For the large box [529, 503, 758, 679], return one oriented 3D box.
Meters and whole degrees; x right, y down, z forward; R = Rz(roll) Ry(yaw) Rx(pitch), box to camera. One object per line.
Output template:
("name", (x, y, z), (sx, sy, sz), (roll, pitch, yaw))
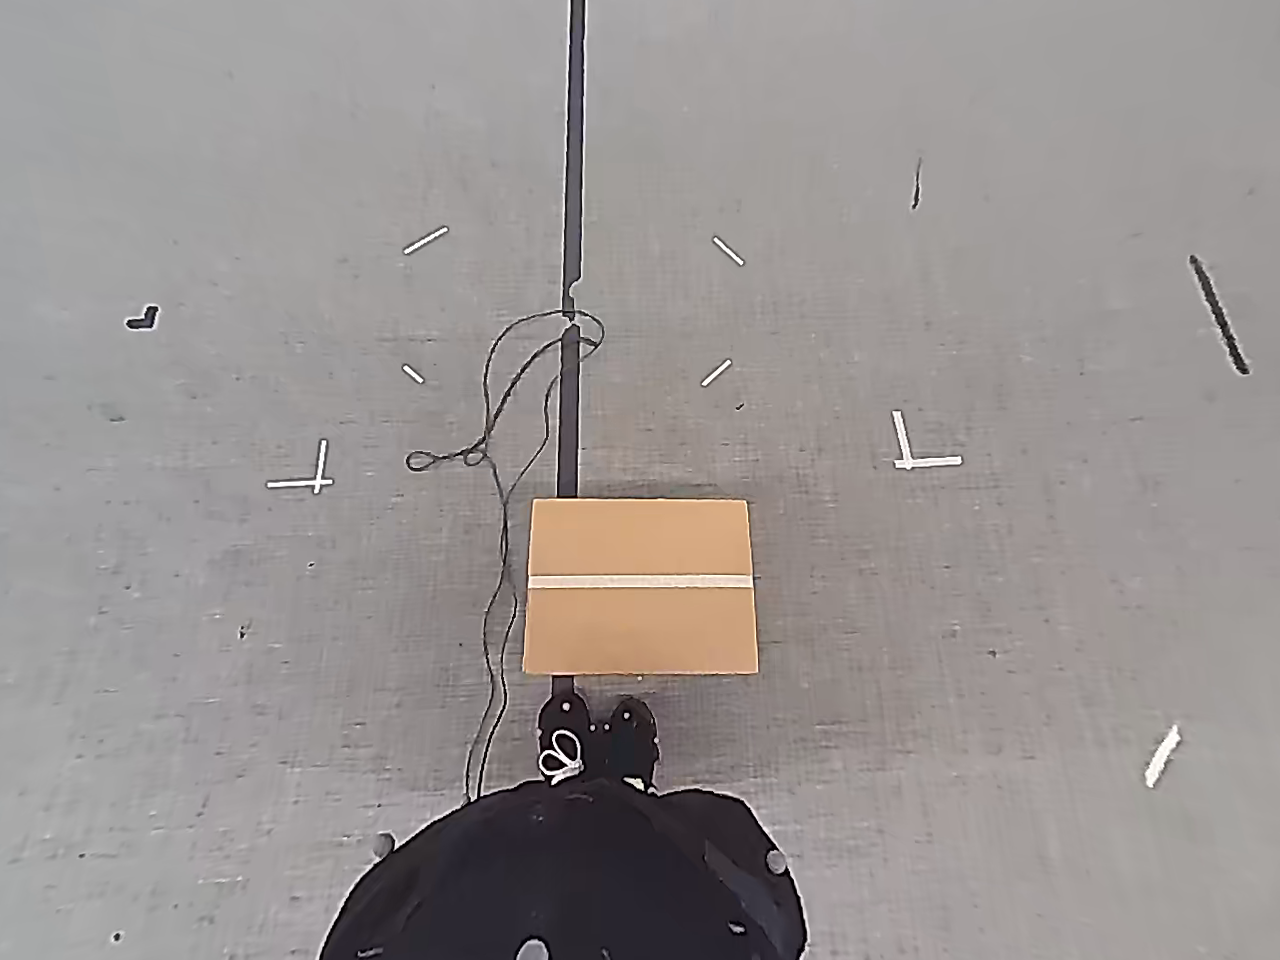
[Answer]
("large box", (-0.001, 0.237, 1.116), (0.408, 0.320, 0.320), (0, 73, -2))
